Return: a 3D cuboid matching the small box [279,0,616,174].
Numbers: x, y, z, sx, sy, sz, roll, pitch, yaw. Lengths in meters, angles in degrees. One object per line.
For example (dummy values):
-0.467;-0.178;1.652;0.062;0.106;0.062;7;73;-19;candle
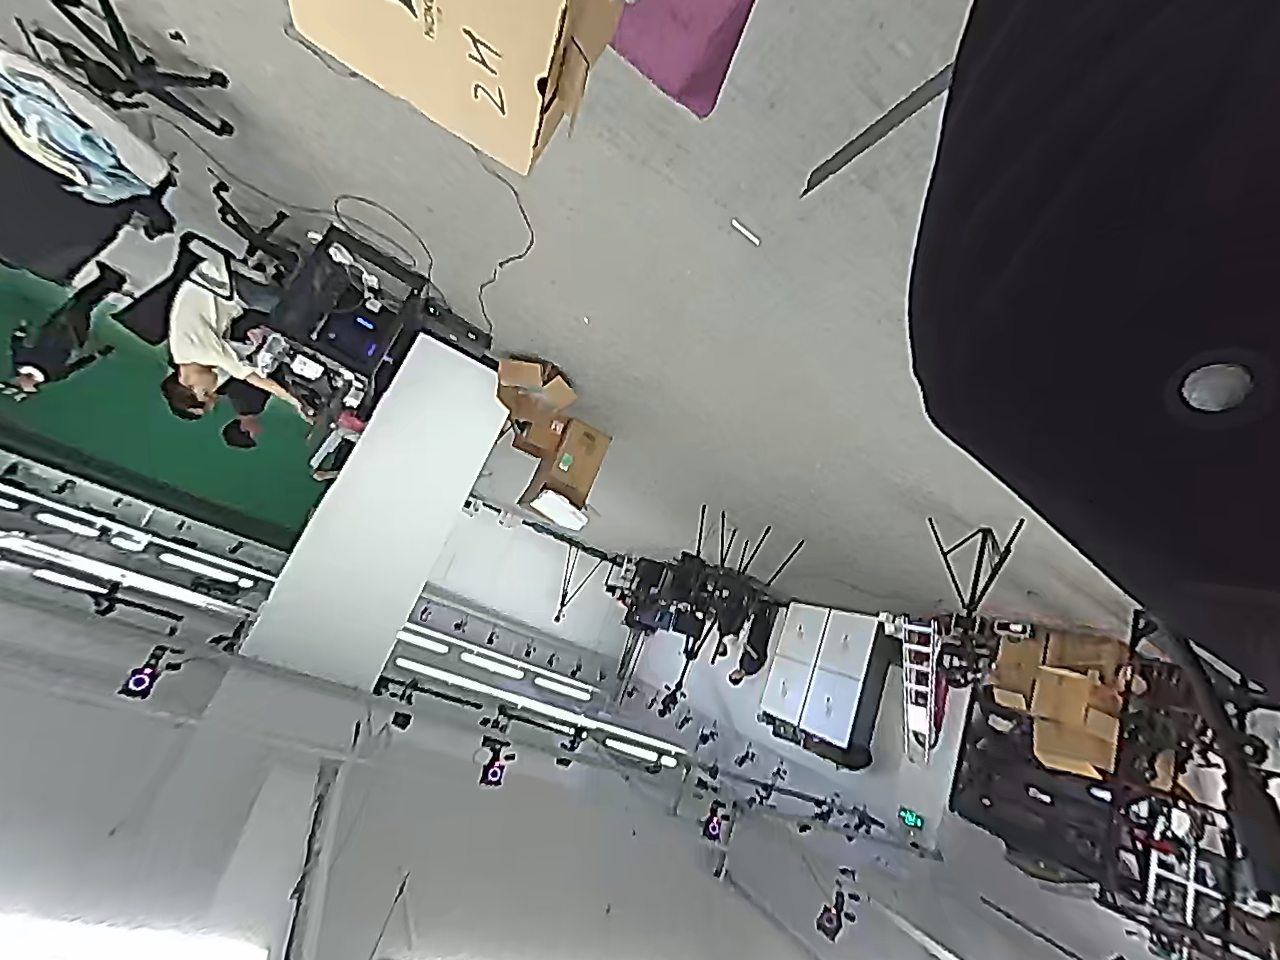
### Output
-0.106;-0.350;0.334;0.179;0.176;0.168;26;164;-15;small box
